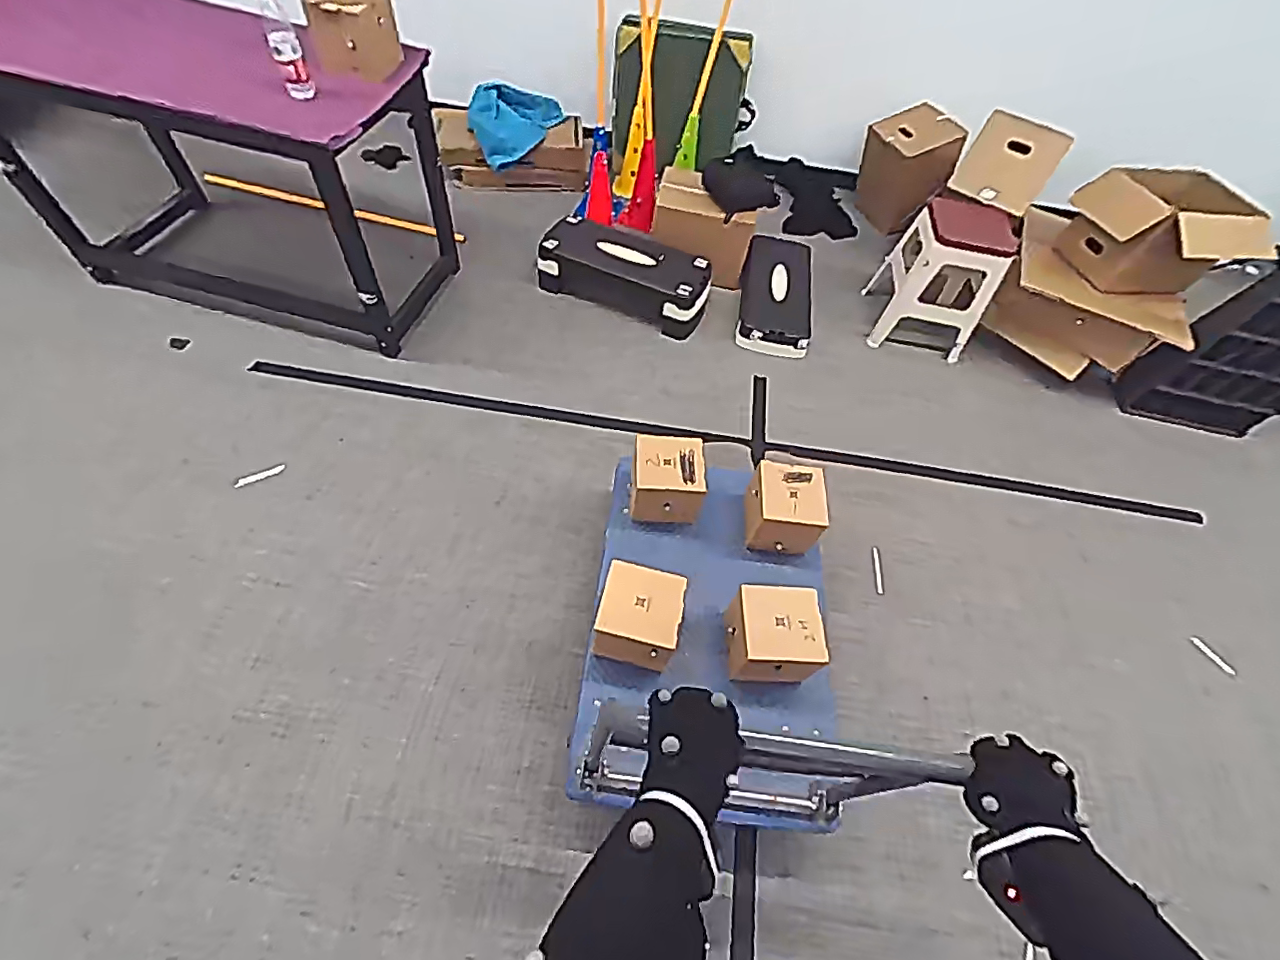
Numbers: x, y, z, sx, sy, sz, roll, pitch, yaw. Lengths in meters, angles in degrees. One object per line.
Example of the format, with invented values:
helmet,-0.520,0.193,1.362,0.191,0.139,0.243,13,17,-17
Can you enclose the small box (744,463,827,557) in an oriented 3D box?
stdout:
small box,0.375,0.081,1.425,0.168,0.176,0.179,7,57,-2

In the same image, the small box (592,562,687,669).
small box,-0.005,0.312,1.224,0.179,0.176,0.168,14,55,1

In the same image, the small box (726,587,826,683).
small box,0.298,0.356,1.231,0.179,0.176,0.168,4,56,-4
